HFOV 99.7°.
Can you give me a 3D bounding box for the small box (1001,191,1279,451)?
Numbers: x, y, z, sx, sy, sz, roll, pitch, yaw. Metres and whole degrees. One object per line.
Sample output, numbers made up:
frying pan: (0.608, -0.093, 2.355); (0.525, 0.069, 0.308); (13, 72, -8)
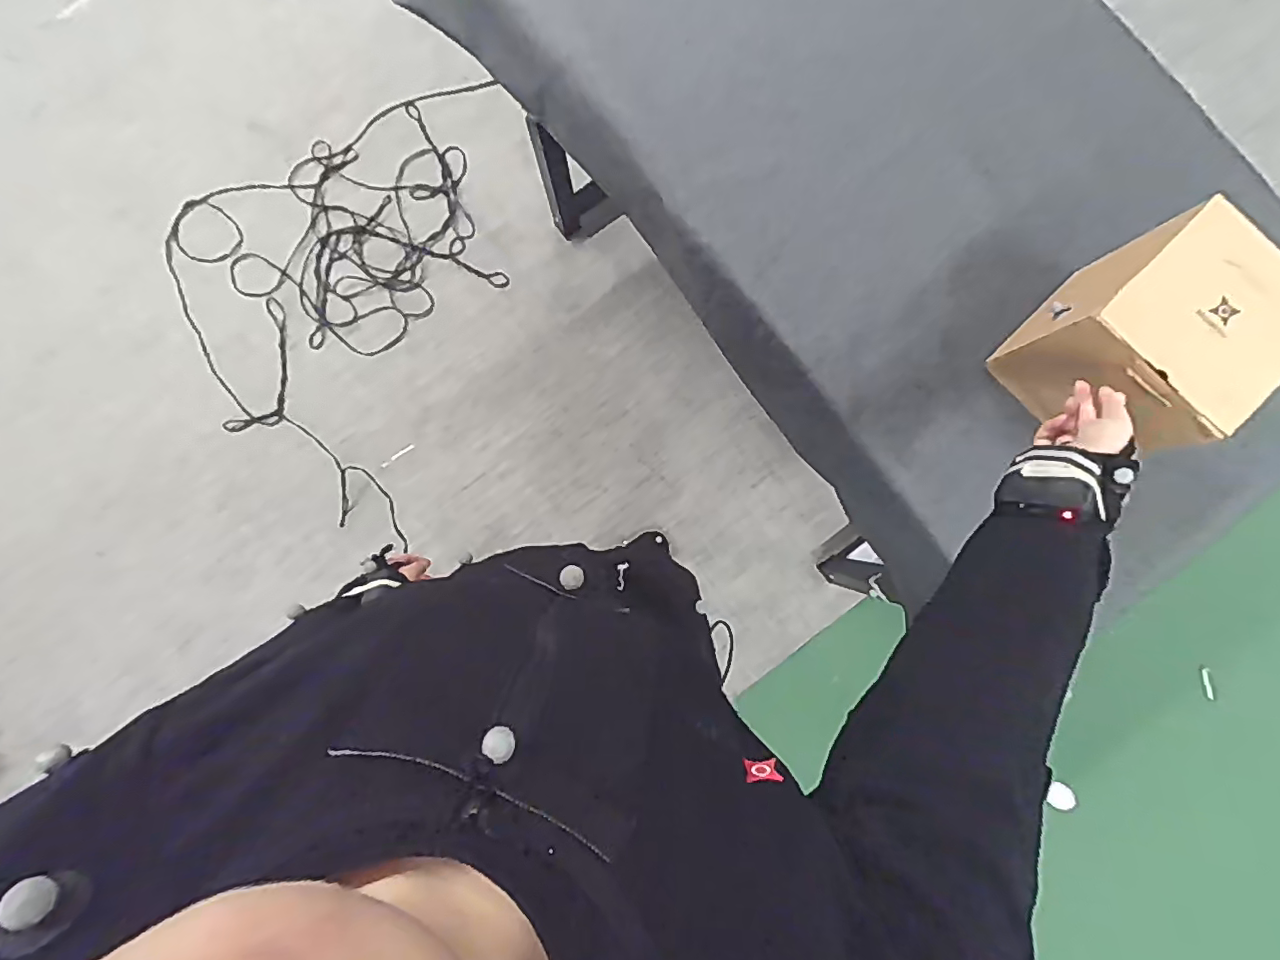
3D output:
small box: (0.537, -0.150, 0.579); (0.179, 0.176, 0.168); (-44, 89, -4)
